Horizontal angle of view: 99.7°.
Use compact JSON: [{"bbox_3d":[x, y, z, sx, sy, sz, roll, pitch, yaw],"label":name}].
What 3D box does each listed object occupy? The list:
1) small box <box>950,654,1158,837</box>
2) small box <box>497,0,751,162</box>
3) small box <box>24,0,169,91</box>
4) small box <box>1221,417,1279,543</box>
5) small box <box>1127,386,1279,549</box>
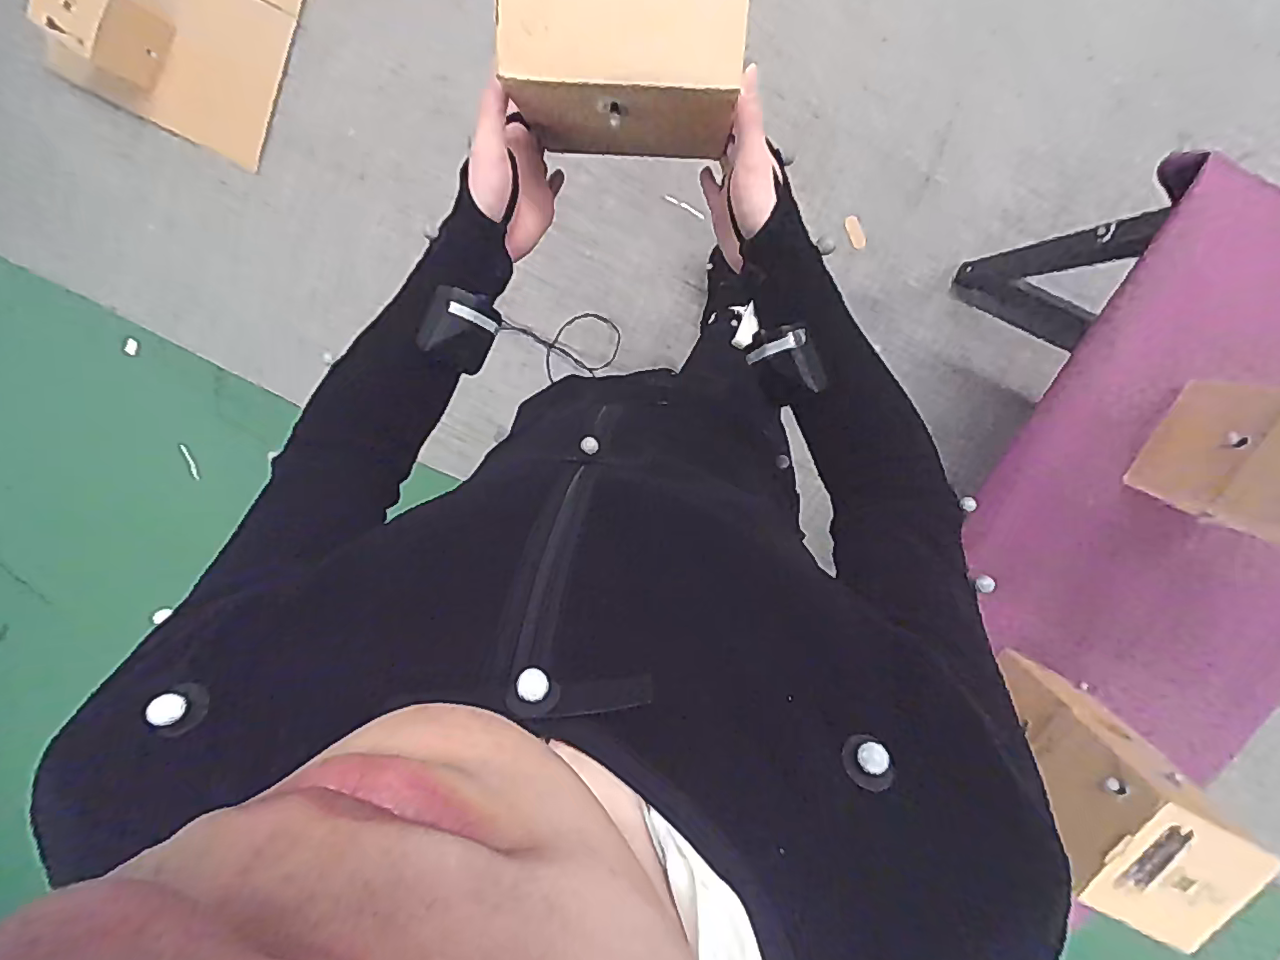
[{"bbox_3d":[0.654,0.420,0.882,0.168,0.176,0.179,28,104,-4],"label":"small box"},{"bbox_3d":[-0.005,-0.375,0.437,0.179,0.176,0.168,4,105,2],"label":"small box"},{"bbox_3d":[-1.327,-1.124,1.335,0.168,0.176,0.179,35,103,-5],"label":"small box"},{"bbox_3d":[0.835,0.016,0.605,0.168,0.176,0.179,25,104,-3],"label":"small box"},{"bbox_3d":[0.859,-0.019,0.765,0.168,0.176,0.179,24,103,-2],"label":"small box"}]
